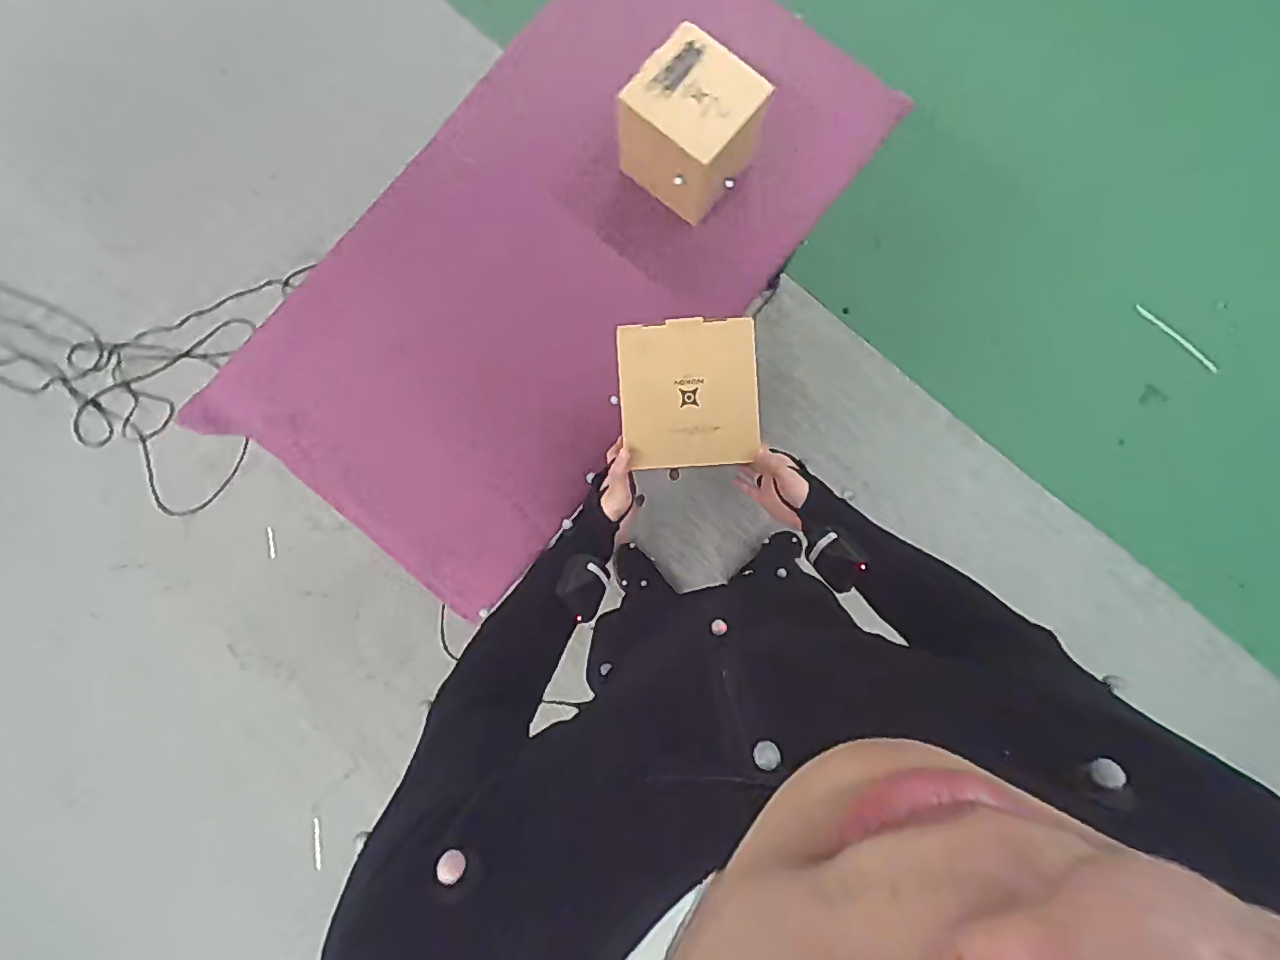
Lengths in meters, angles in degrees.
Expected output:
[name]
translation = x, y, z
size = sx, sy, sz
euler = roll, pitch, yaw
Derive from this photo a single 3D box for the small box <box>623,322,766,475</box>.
[small box]
translation = 0.064, -0.096, 0.709
size = 0.168, 0.176, 0.179
euler = -2, 92, 1
